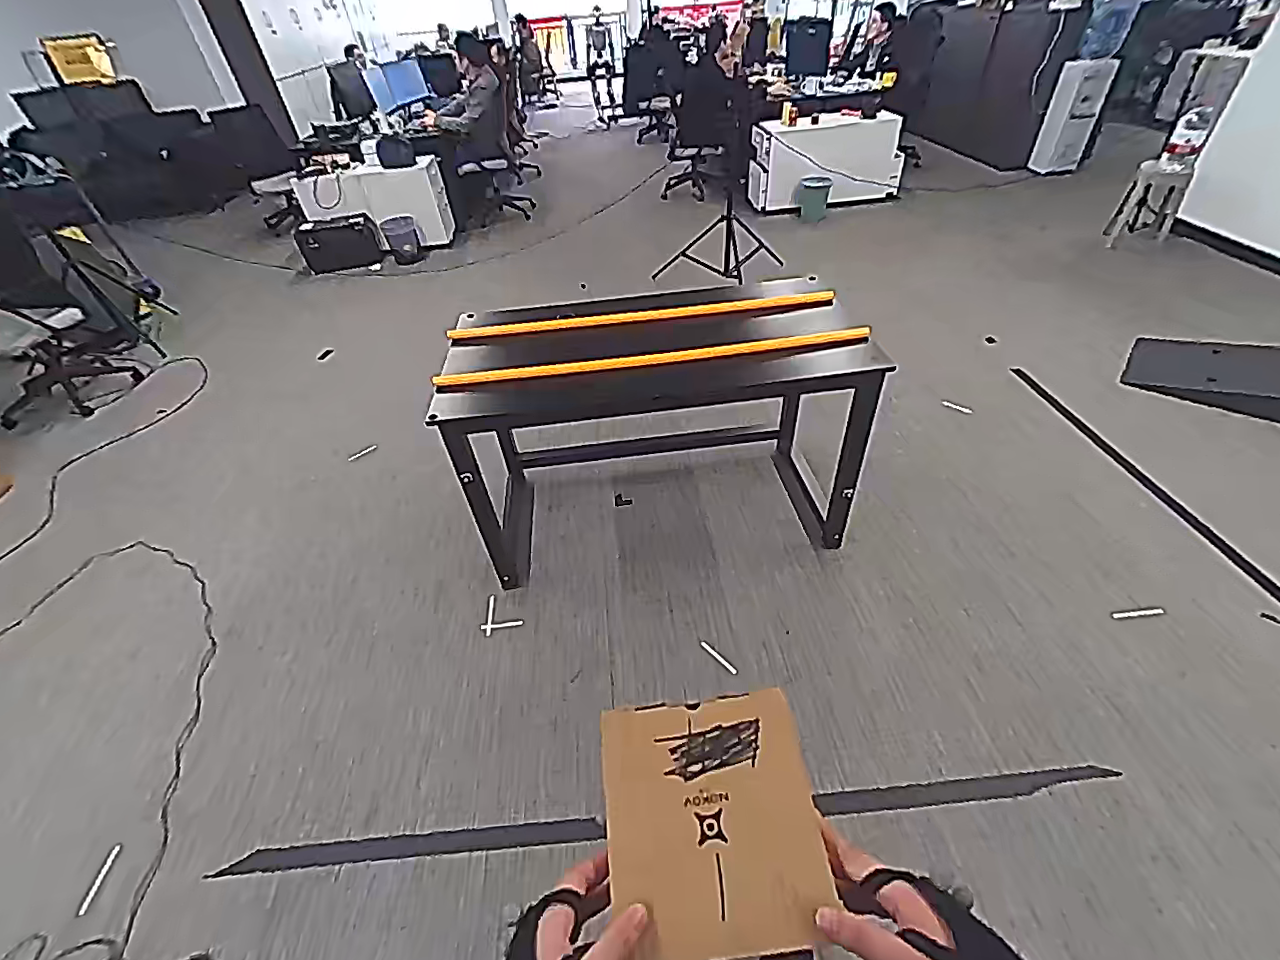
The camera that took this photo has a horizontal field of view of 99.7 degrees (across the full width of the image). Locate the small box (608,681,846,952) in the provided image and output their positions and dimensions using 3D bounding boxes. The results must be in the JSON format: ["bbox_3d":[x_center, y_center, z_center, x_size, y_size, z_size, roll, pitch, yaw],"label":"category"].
[{"bbox_3d":[0.063,0.307,0.498,0.168,0.176,0.179,-7,52,-1],"label":"small box"}]
